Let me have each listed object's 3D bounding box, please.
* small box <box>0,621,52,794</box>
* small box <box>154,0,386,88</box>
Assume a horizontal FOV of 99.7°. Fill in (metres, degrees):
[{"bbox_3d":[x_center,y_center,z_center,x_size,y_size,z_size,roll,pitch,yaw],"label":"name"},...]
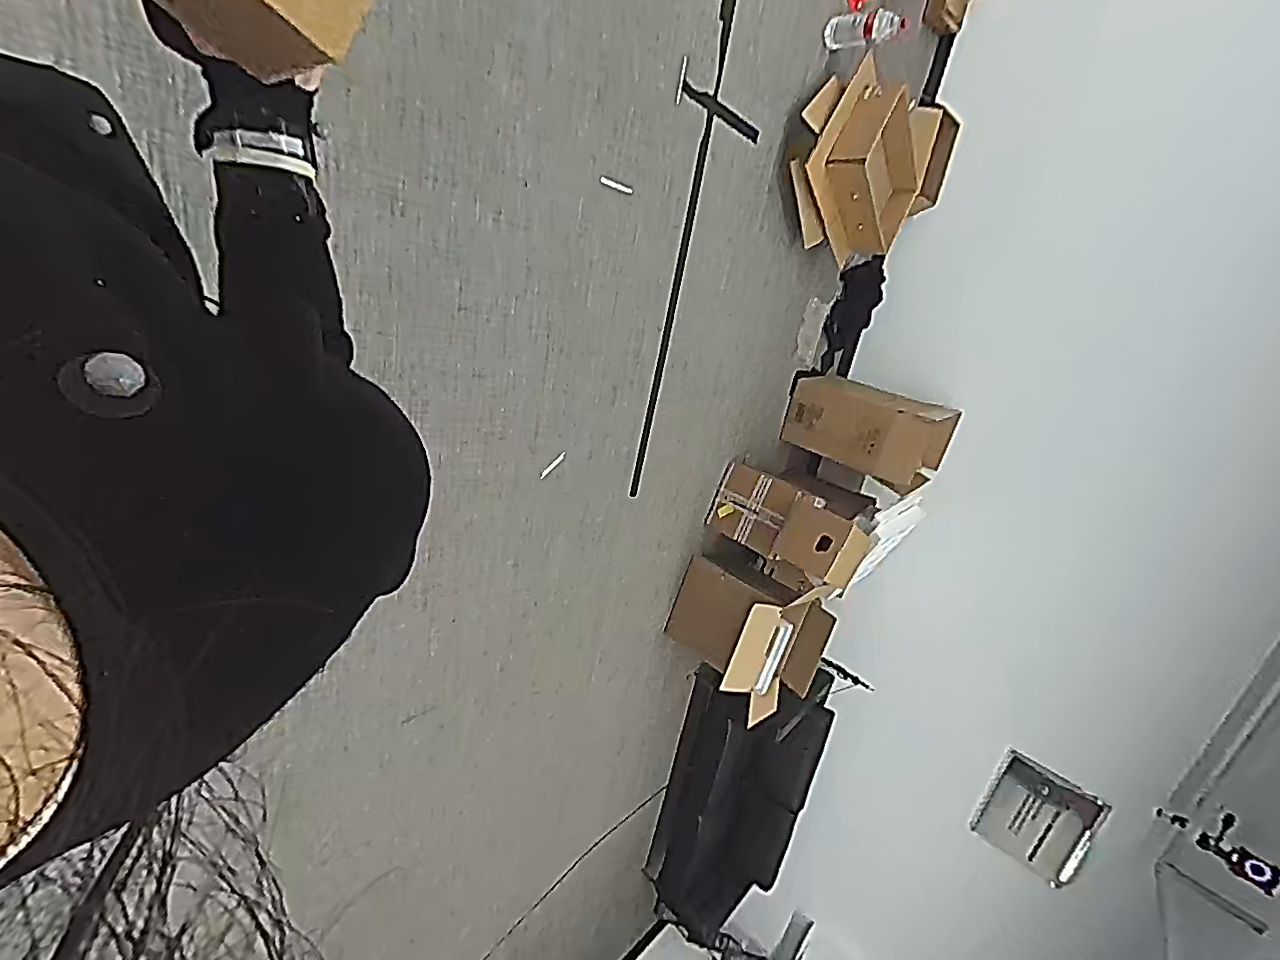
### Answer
[{"bbox_3d":[-0.893,0.302,0.701,0.168,0.176,0.179,-4,113,-50],"label":"small box"},{"bbox_3d":[-0.207,-0.332,0.261,0.168,0.176,0.179,25,93,-50],"label":"small box"}]
